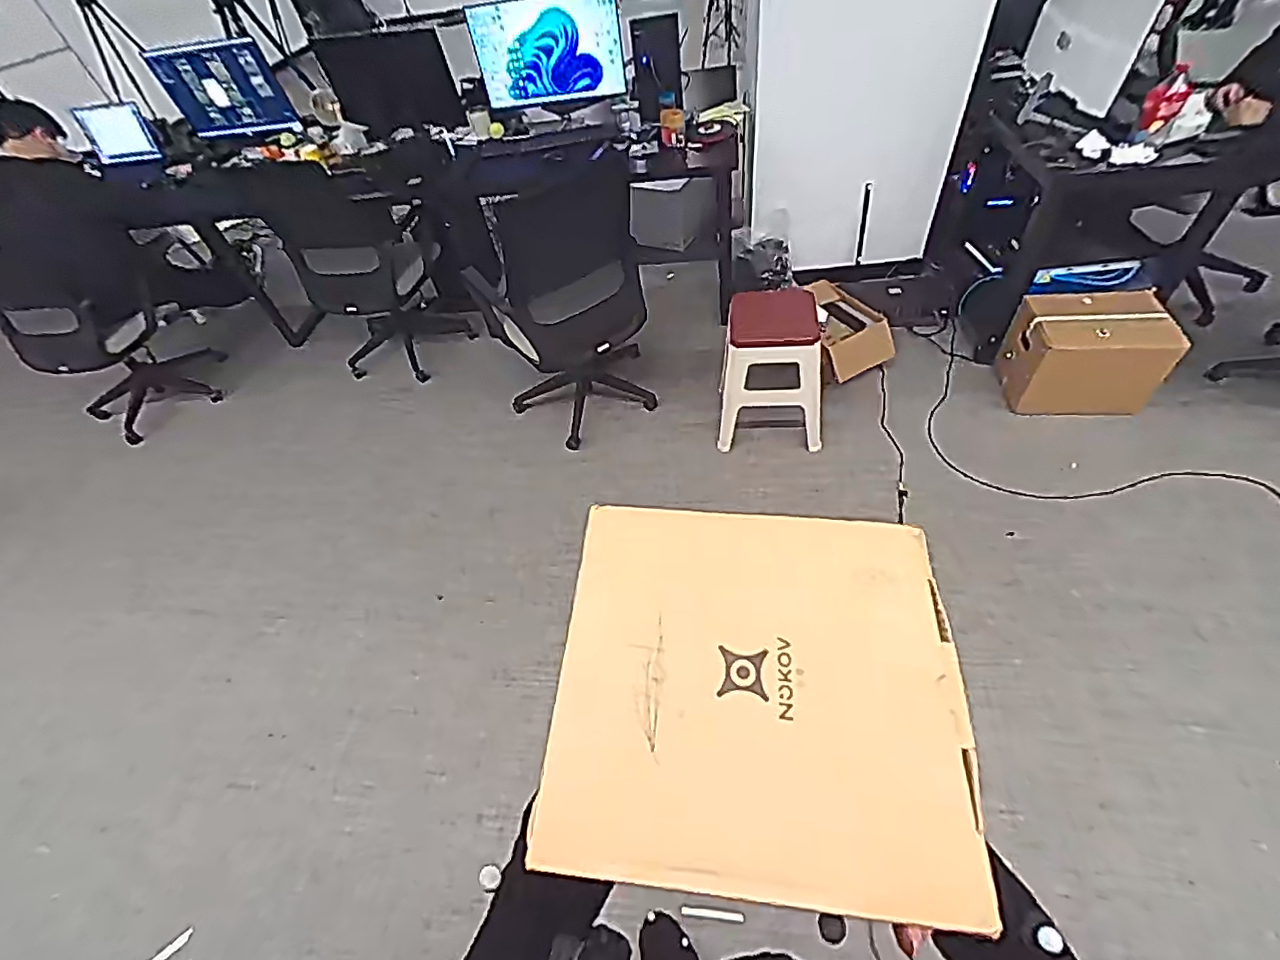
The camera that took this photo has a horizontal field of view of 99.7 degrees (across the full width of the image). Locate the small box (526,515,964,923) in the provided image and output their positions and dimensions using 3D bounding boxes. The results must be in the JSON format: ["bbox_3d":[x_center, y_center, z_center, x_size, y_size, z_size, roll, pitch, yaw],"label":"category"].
[{"bbox_3d":[0.053,0.138,0.323,0.179,0.176,0.168,3,56,8],"label":"small box"}]
